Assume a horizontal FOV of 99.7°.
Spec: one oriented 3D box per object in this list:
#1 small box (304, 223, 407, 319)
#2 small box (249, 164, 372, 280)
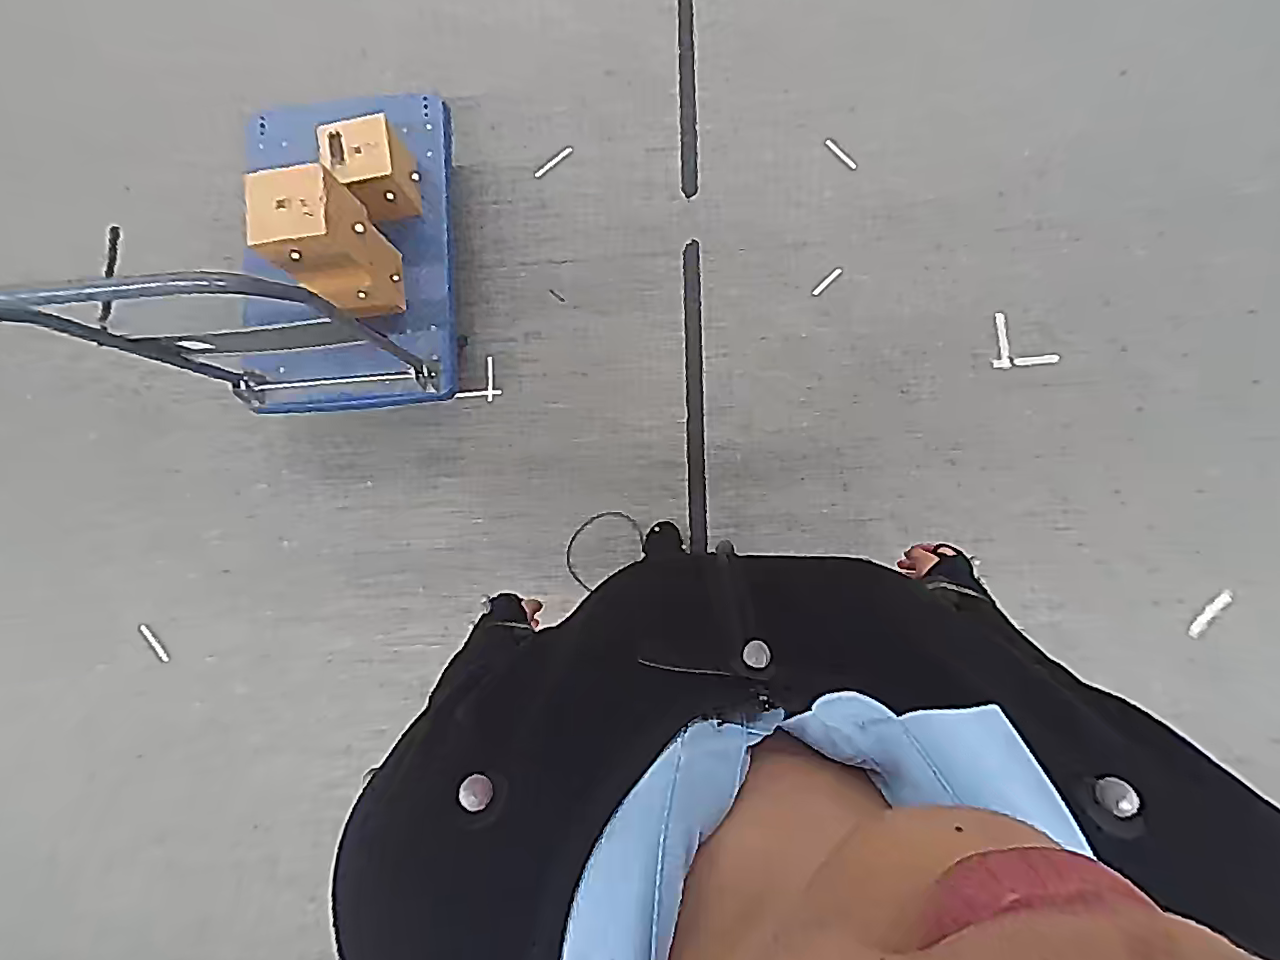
[{"bbox_3d":[-0.721,-0.527,1.379,0.179,0.176,0.168,-7,83,3],"label":"small box"},{"bbox_3d":[-0.736,-0.570,1.218,0.179,0.176,0.168,-6,84,3],"label":"small box"}]
